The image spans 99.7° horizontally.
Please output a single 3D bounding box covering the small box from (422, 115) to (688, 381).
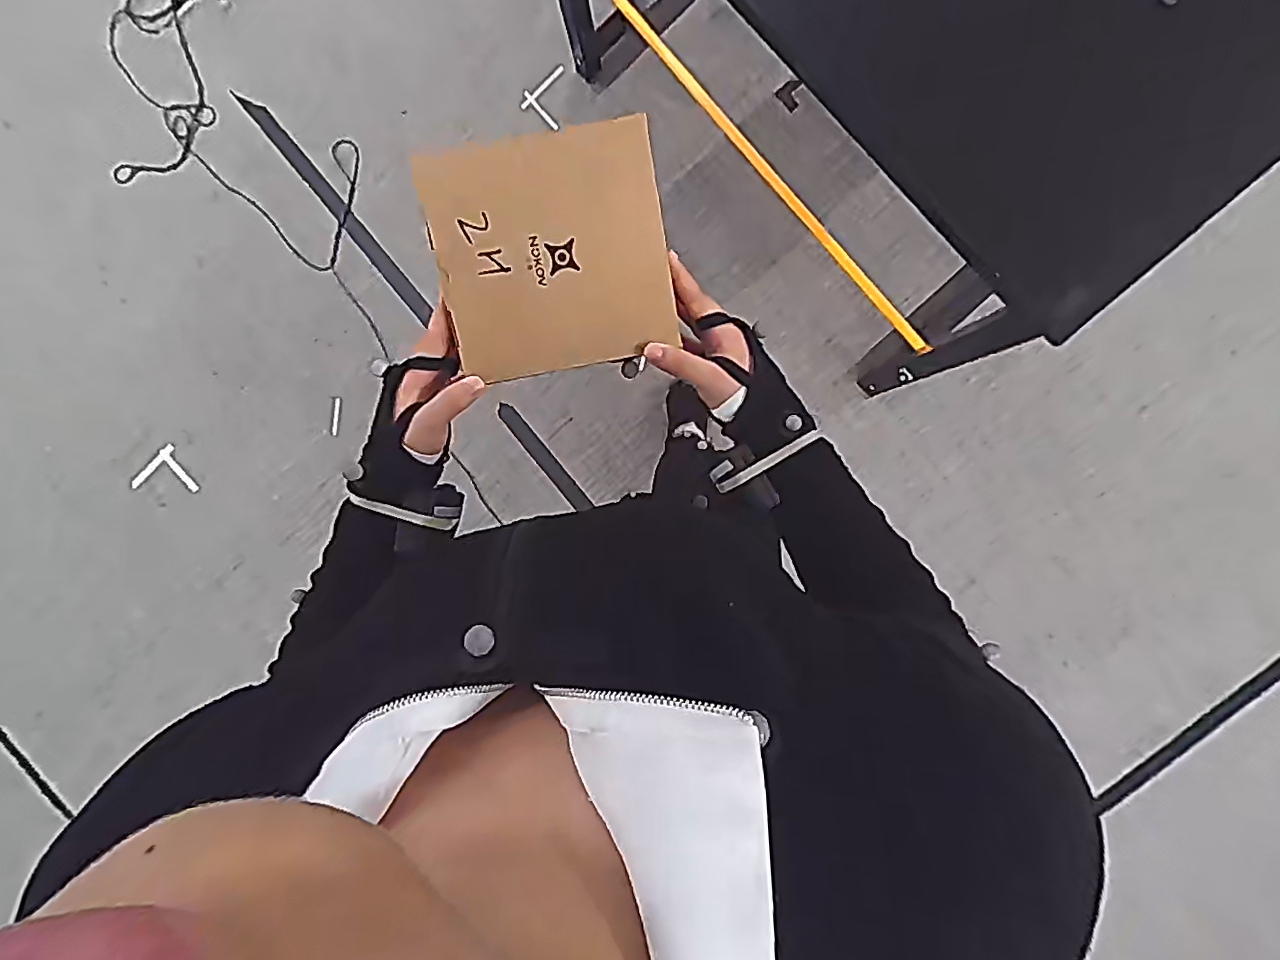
[{"bbox_3d":[-0.061,-0.189,0.485,0.179,0.176,0.168,-10,103,2],"label":"small box"}]
